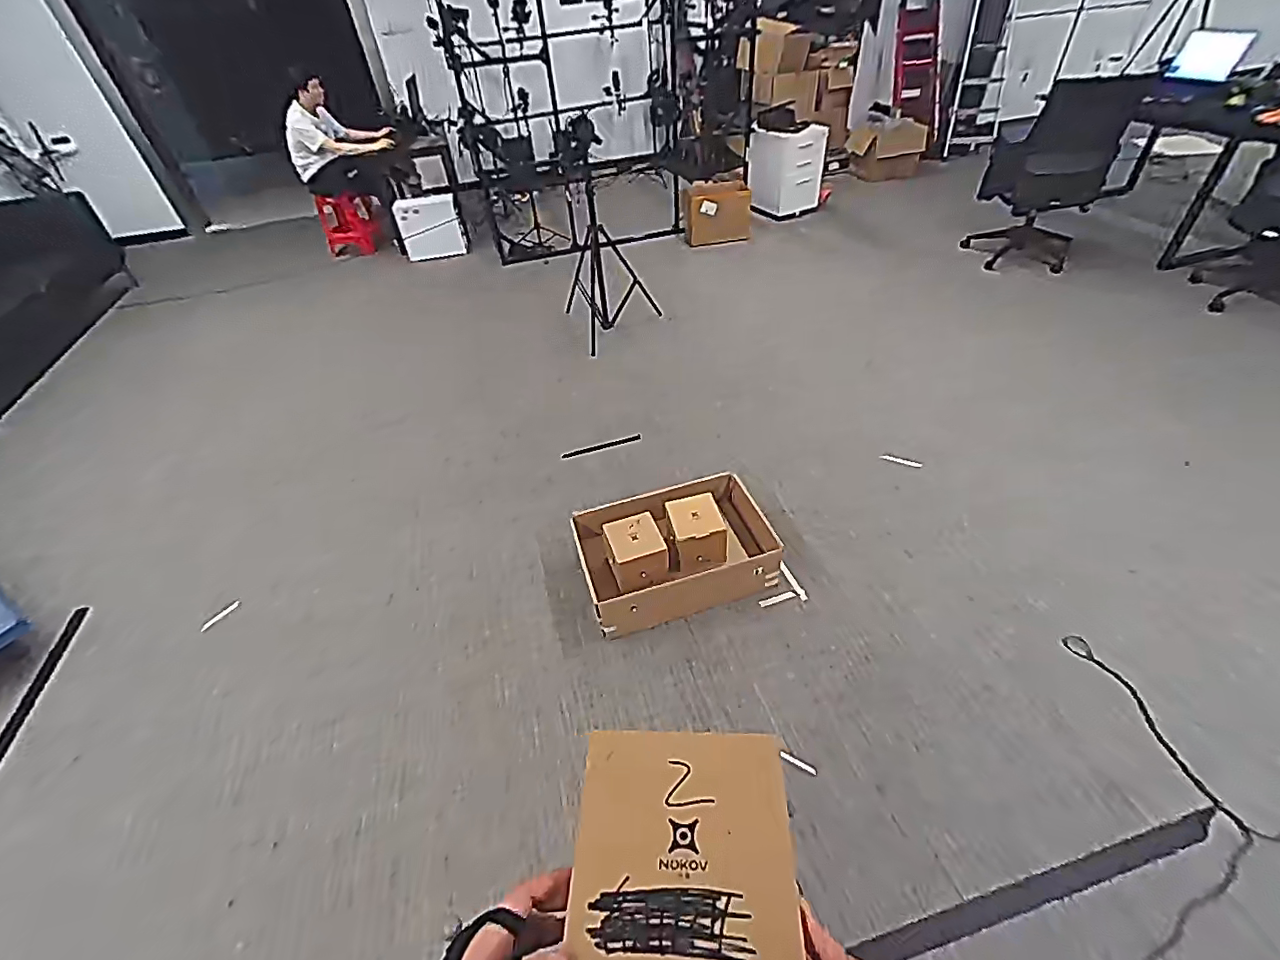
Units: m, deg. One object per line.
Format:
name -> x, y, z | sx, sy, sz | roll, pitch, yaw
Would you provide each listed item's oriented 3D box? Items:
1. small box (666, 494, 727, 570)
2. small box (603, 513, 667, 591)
small box -> 0.189, 0.177, 1.834 | 0.168, 0.176, 0.179 | -12, 43, -5
small box -> -0.013, 0.243, 1.781 | 0.168, 0.176, 0.179 | -15, 43, -12
